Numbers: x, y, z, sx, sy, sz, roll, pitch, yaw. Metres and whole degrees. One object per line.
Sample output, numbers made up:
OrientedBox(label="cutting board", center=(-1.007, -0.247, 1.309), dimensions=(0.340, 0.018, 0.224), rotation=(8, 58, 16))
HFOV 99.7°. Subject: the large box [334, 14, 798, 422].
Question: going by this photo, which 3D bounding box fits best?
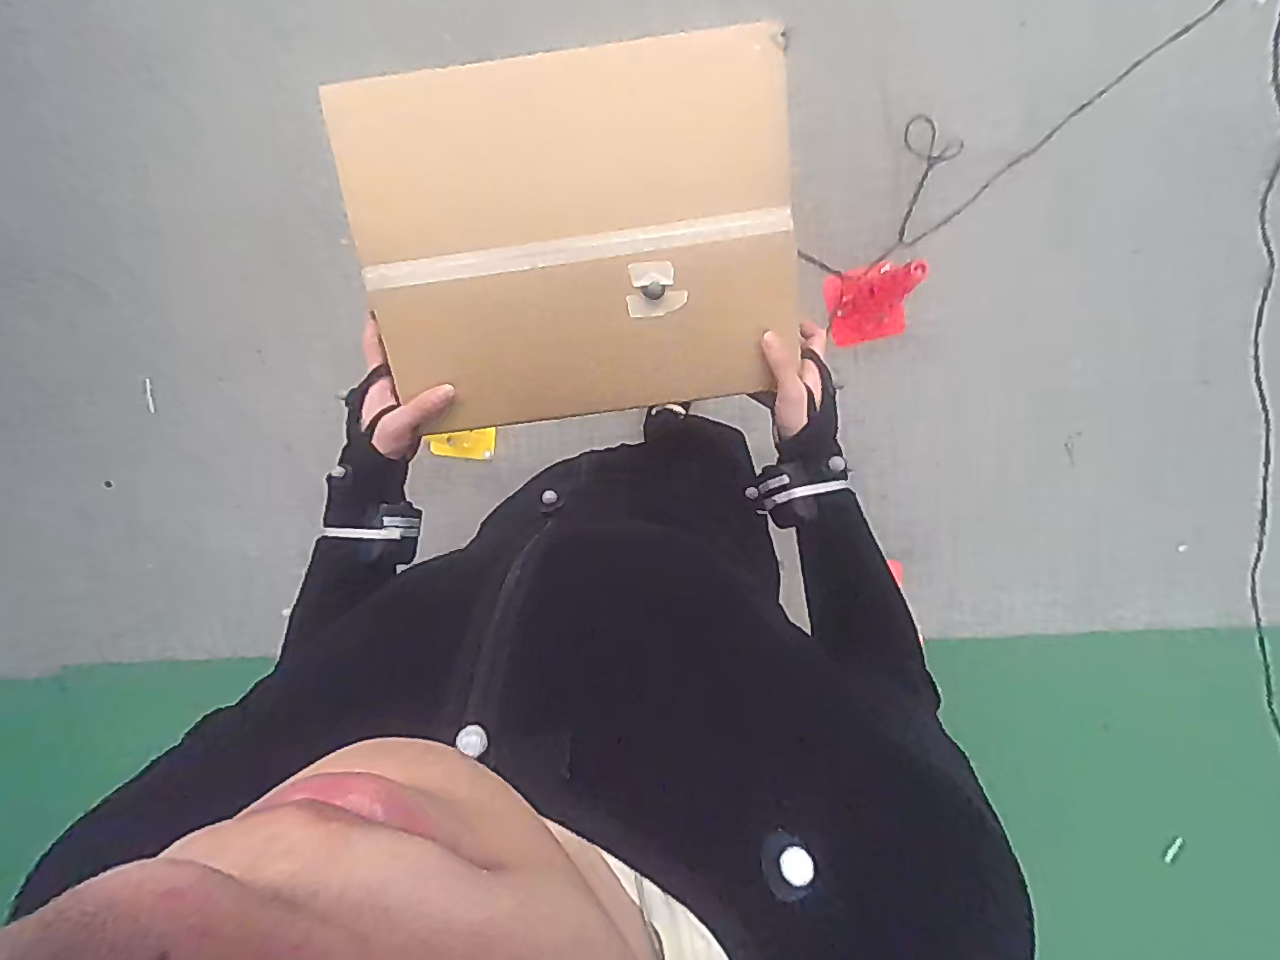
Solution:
OrientedBox(label="large box", center=(-0.060, -0.273, 0.655), dimensions=(0.408, 0.320, 0.320), rotation=(-8, 108, 0))
